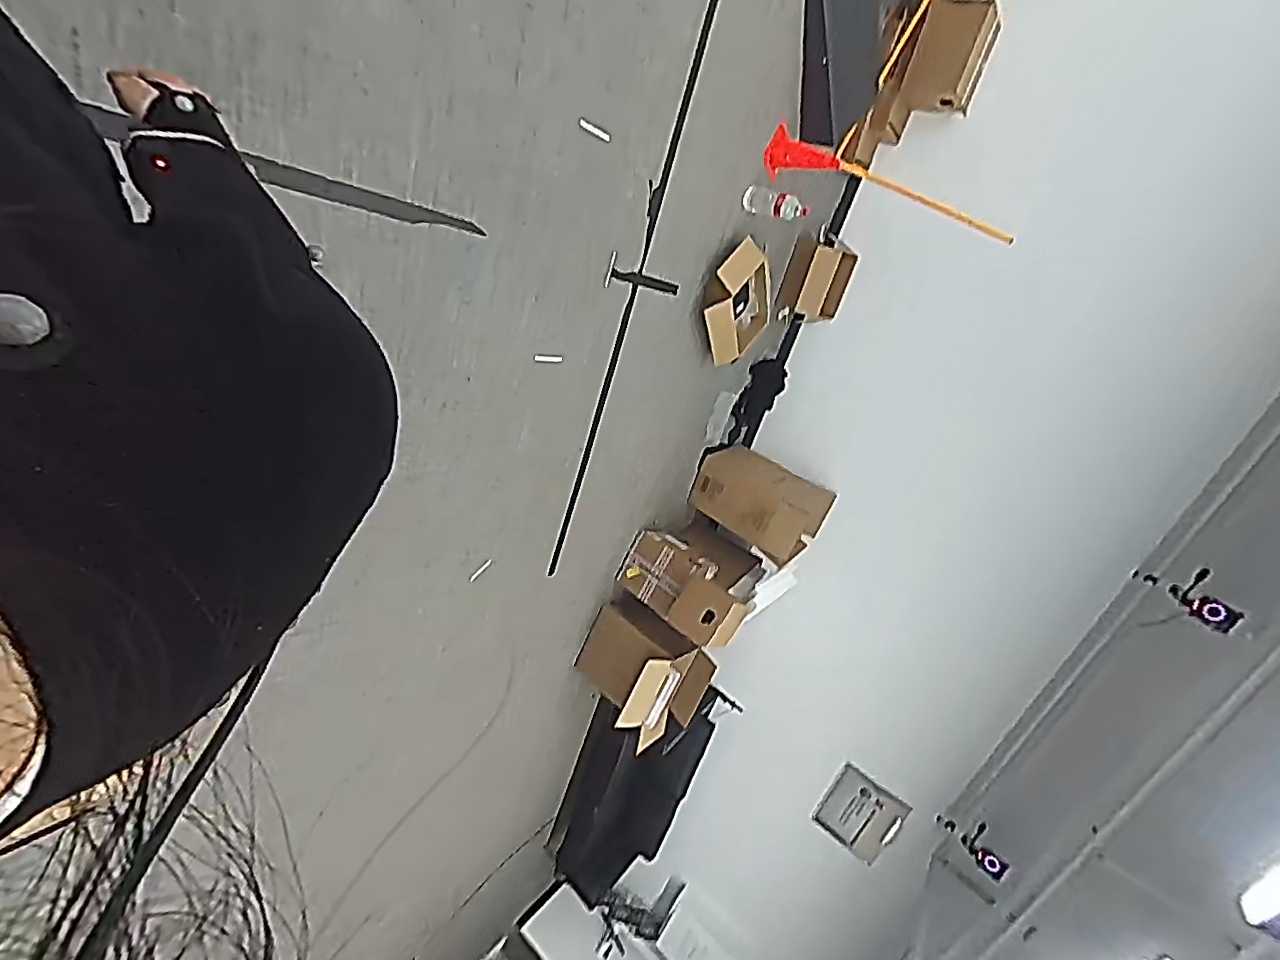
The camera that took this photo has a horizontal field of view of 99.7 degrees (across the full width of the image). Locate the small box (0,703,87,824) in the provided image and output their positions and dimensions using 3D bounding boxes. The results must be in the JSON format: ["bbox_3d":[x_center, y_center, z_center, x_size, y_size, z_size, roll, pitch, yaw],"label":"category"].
[{"bbox_3d":[-1.470,0.664,1.289,0.168,0.176,0.179,-18,132,-51],"label":"small box"}]
